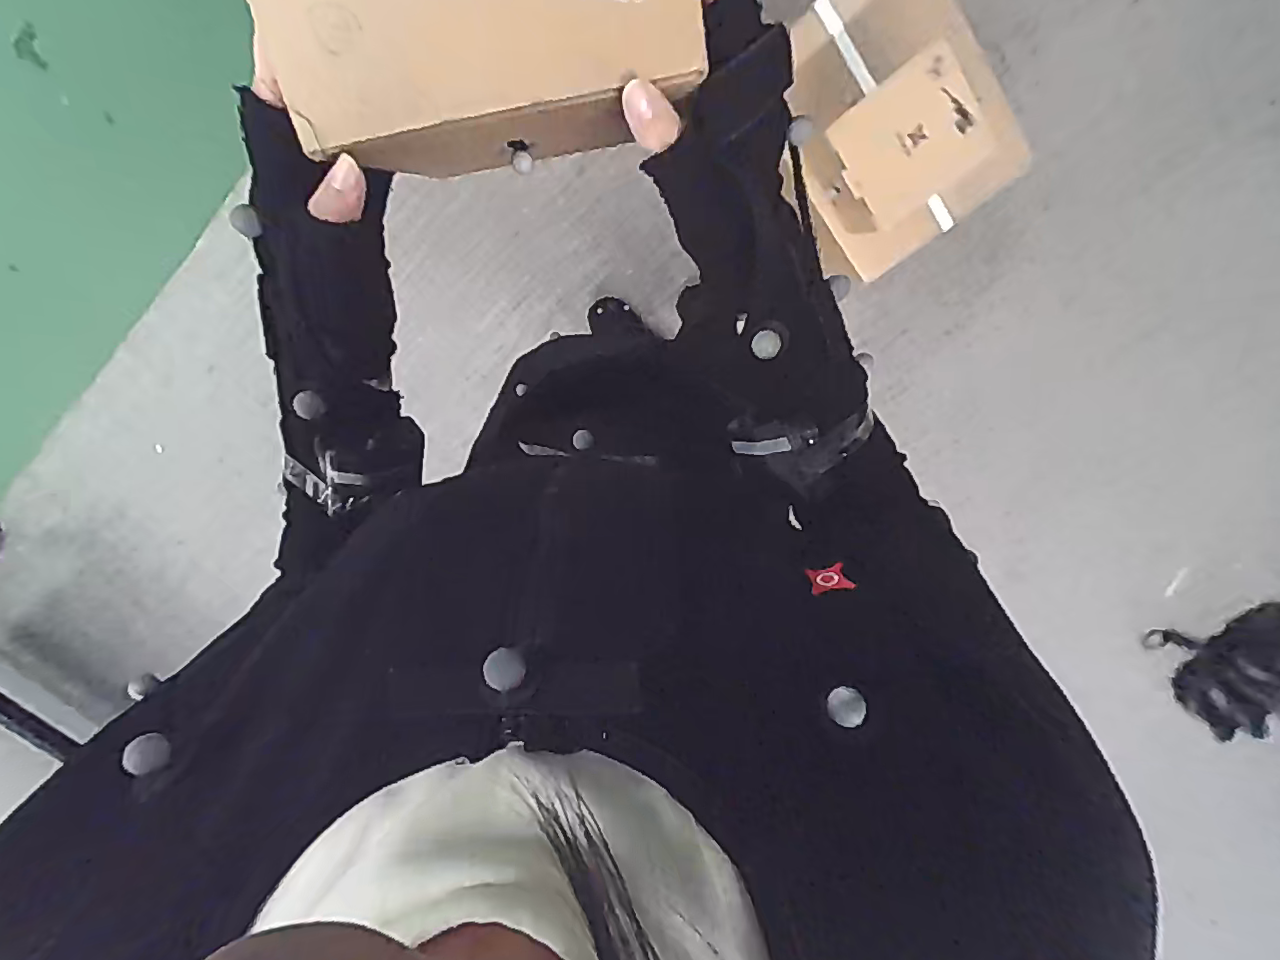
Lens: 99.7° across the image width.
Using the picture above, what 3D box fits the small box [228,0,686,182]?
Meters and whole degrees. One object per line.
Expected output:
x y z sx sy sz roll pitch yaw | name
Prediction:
-0.079 -0.254 0.265 0.179 0.176 0.168 -8 117 6 | small box

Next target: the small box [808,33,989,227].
0.373 -0.506 0.818 0.179 0.176 0.168 -33 108 18 | small box
